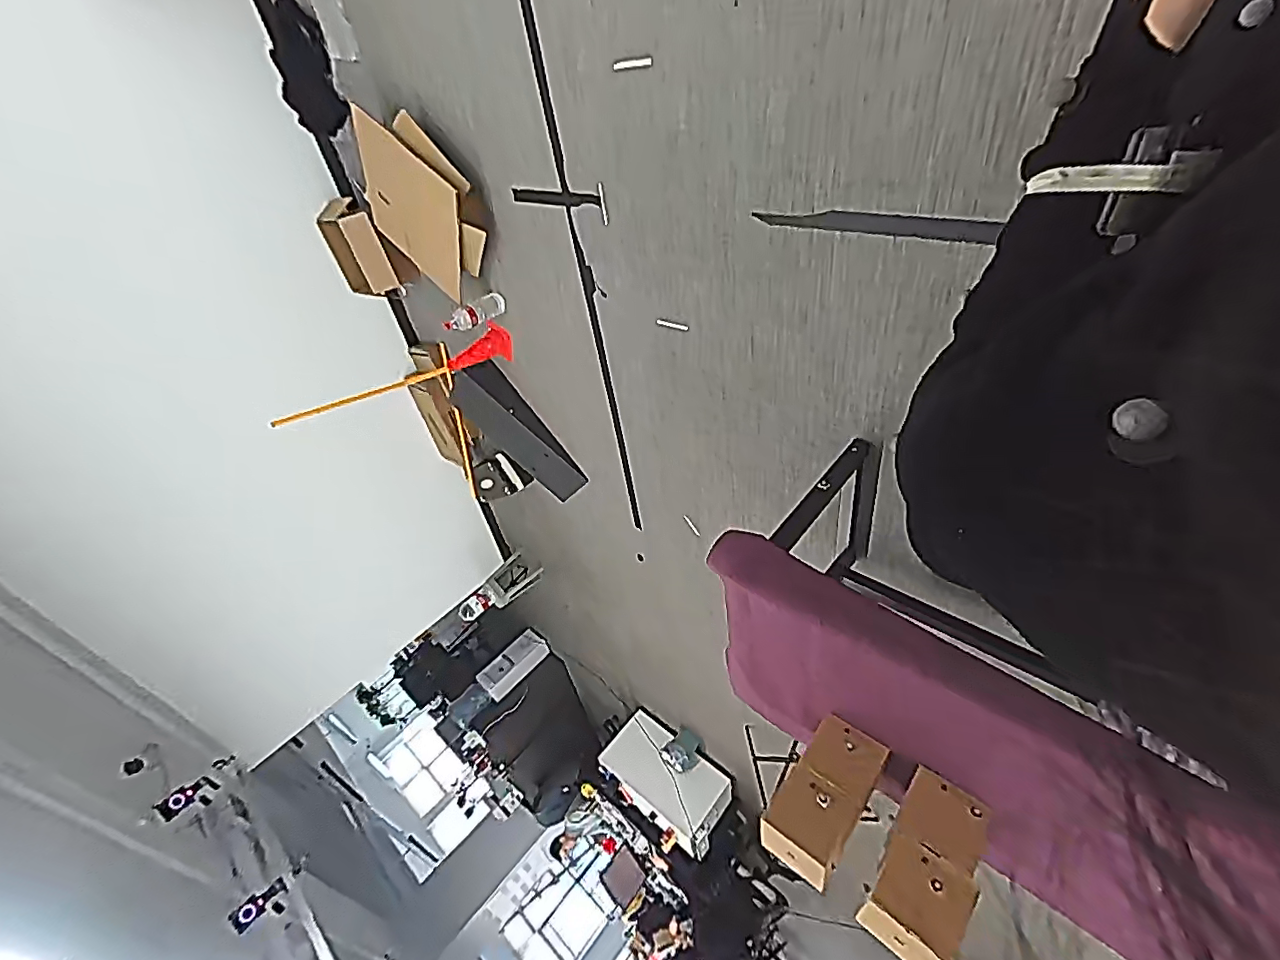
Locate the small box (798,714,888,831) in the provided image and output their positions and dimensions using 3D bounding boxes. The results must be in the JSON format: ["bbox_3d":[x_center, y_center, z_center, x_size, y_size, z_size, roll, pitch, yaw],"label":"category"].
[{"bbox_3d":[0.521,0.752,1.402,0.168,0.176,0.179,24,139,34],"label":"small box"}]

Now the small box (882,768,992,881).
[{"bbox_3d":[0.690,0.815,1.257,0.168,0.176,0.179,25,141,35],"label":"small box"}]

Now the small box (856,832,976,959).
[{"bbox_3d":[0.595,0.913,1.167,0.168,0.176,0.179,27,140,33],"label":"small box"}]

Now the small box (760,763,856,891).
[{"bbox_3d":[0.411,0.842,1.323,0.168,0.176,0.179,22,138,36],"label":"small box"}]
